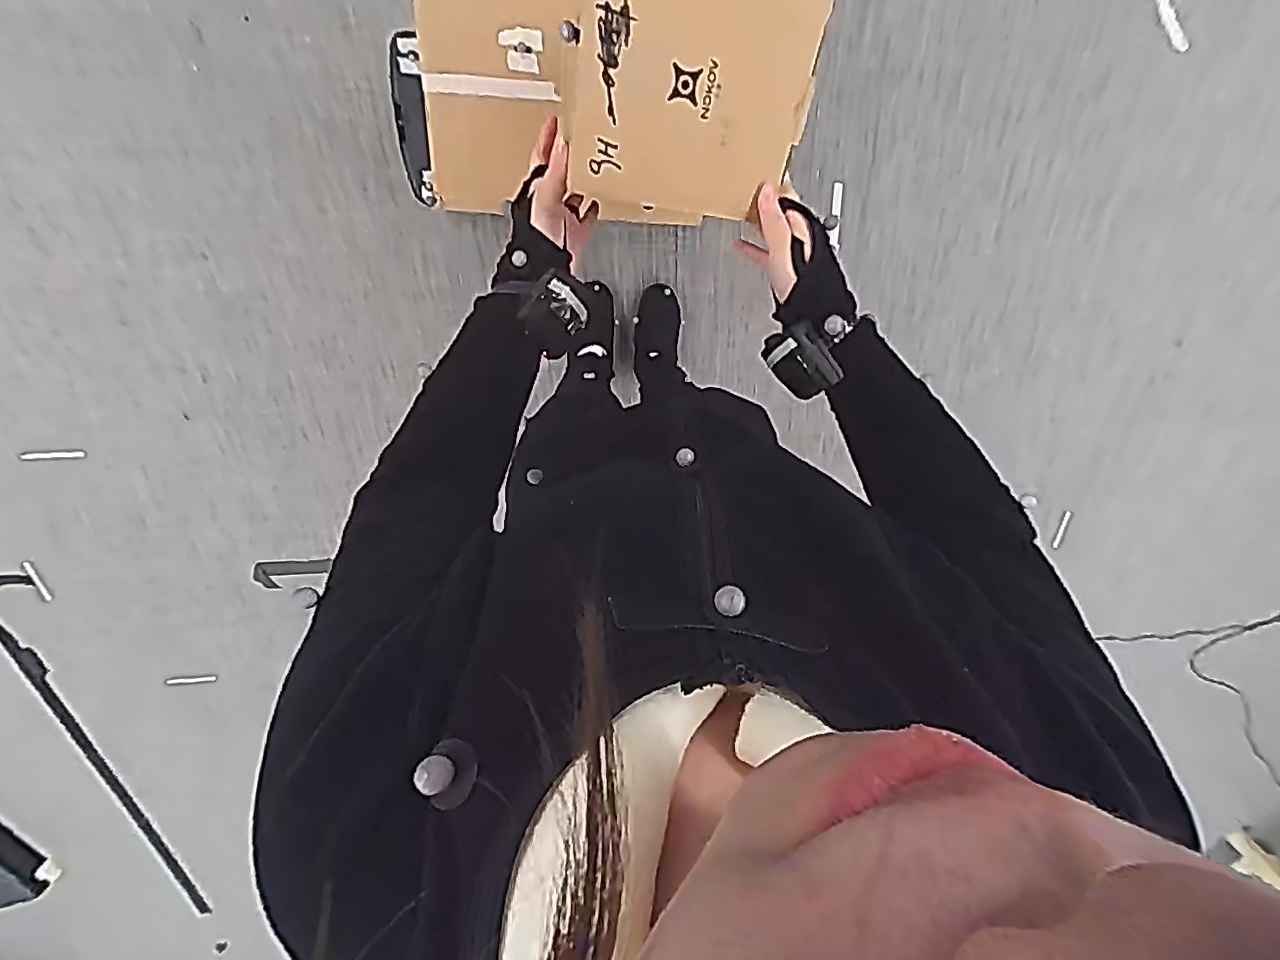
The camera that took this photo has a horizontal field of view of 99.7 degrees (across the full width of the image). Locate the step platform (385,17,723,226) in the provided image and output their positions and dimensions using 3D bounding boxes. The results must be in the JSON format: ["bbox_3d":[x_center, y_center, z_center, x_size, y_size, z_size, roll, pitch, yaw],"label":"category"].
[{"bbox_3d":[-0.139,-0.699,1.093,0.684,0.204,0.286,3,116,-5],"label":"step platform"}]

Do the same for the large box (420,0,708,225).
[{"bbox_3d":[-0.096,-0.597,0.880,0.408,0.320,0.320,1,115,-4],"label":"large box"}]

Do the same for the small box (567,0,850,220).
[{"bbox_3d":[0.037,-0.331,0.448,0.179,0.176,0.168,3,124,-12],"label":"small box"}]
